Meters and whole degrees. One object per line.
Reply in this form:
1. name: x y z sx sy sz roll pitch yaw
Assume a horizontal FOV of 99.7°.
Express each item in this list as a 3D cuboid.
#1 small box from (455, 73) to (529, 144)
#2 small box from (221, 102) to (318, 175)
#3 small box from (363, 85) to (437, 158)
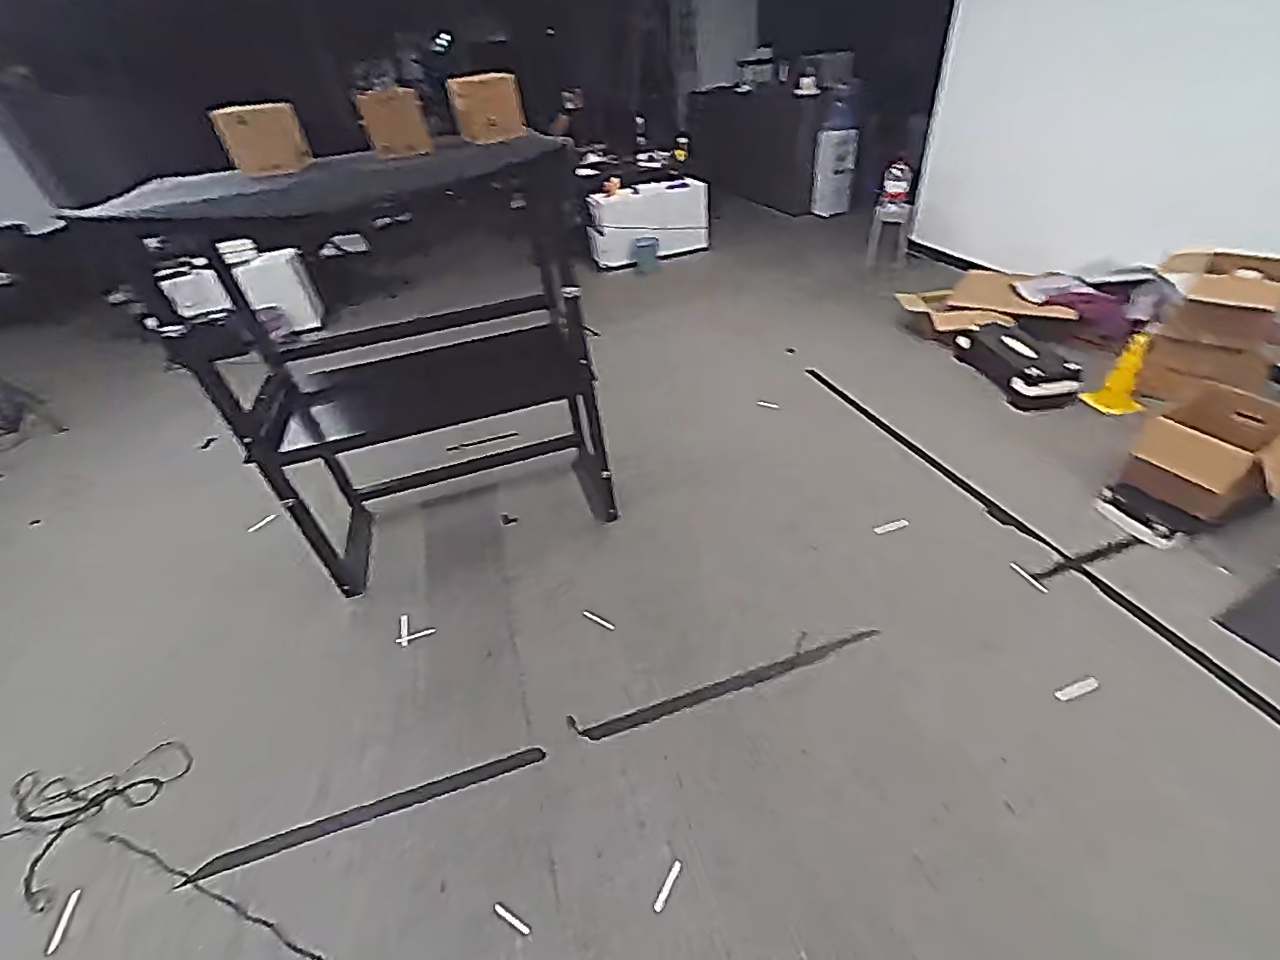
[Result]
1. small box: -0.478 -1.204 1.752 0.168 0.176 0.179 -24 43 -18
2. small box: -1.108 -1.035 1.639 0.168 0.176 0.179 -12 39 -7
3. small box: -0.742 -1.115 1.684 0.168 0.176 0.179 -17 39 -12
